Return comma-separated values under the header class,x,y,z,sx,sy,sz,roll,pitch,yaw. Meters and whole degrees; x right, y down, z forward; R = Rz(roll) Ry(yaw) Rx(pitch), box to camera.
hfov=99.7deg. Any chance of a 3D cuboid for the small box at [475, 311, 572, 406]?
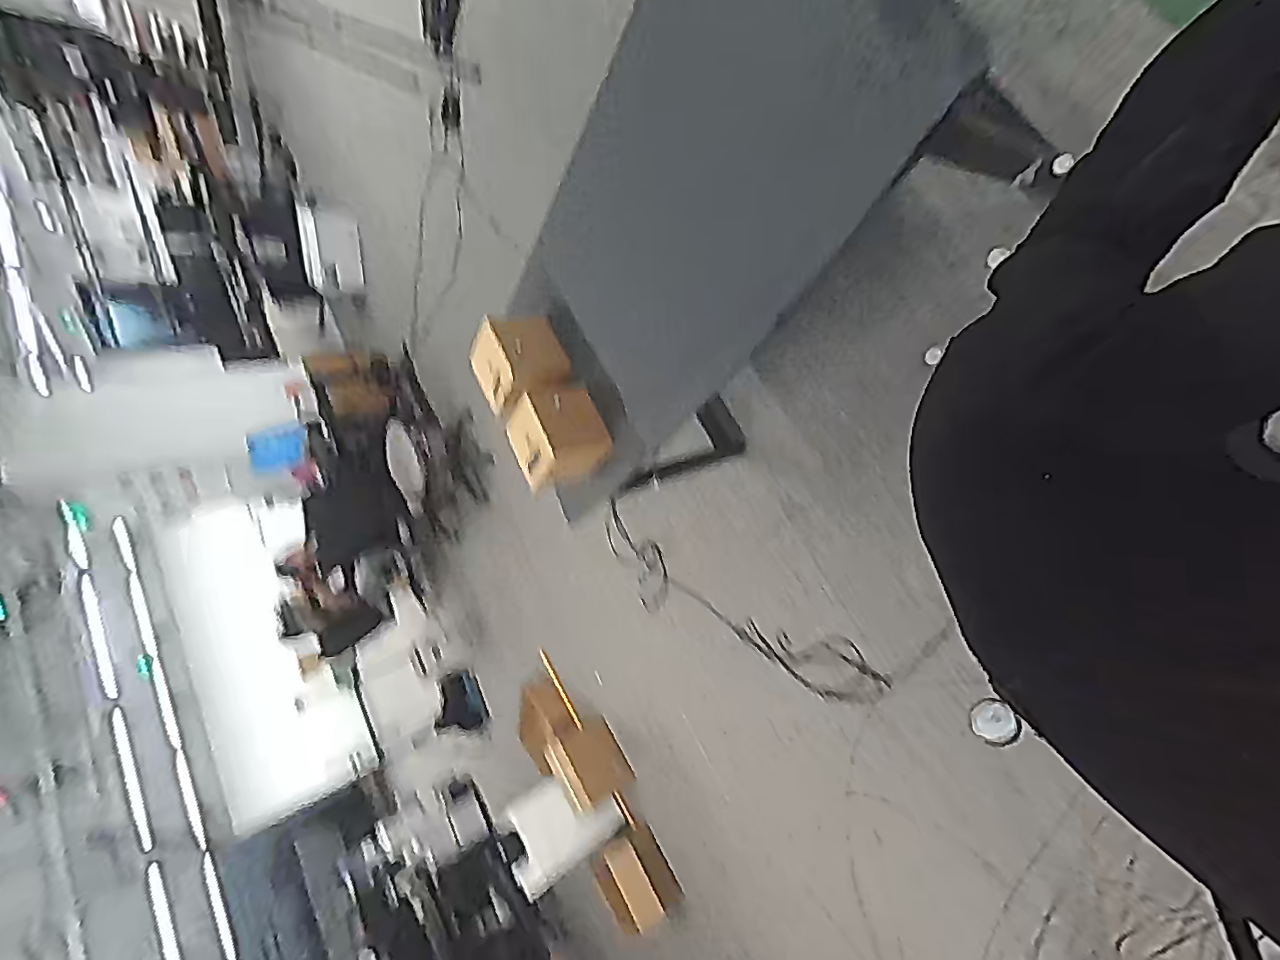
class,x,y,z,sx,sy,sz,roll,pitch,yaw
small box,-0.299,-0.318,1.394,0.179,0.176,0.168,61,140,15
